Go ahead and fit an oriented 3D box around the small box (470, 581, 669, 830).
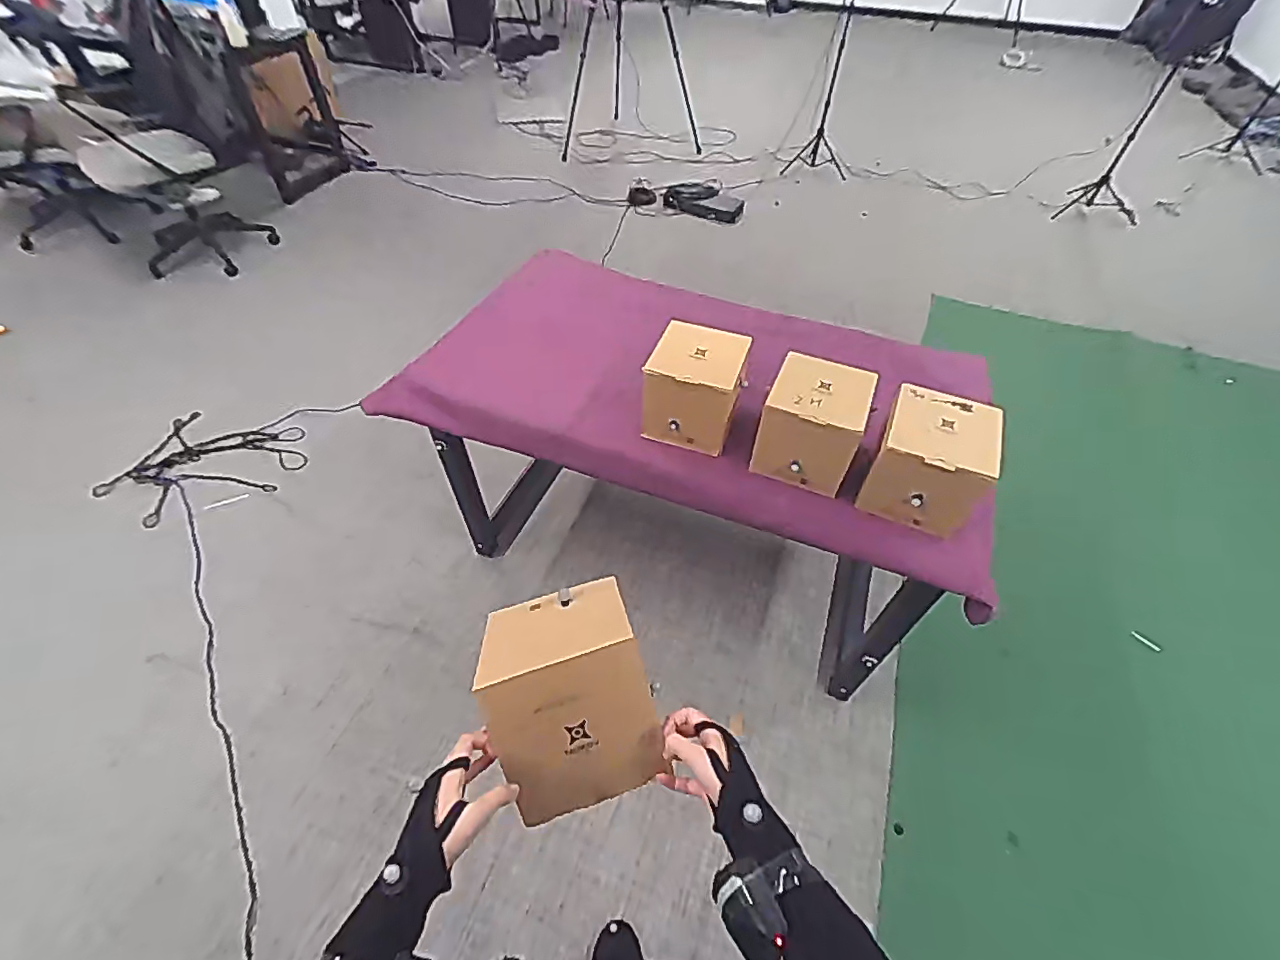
[{"bbox_3d":[-0.078,0.244,0.623,0.168,0.179,0.176,-17,14,-6],"label":"small box"}]
